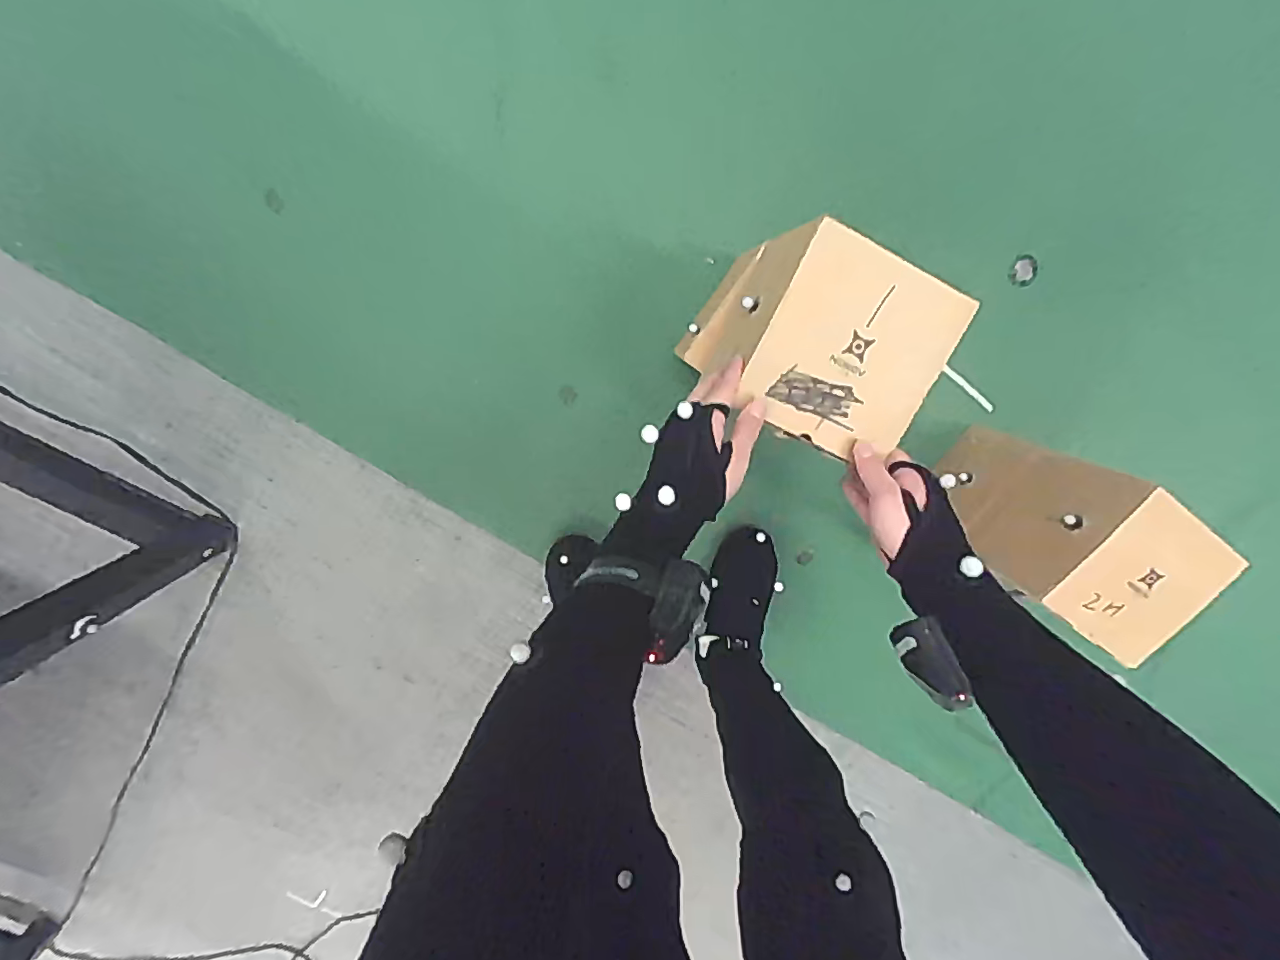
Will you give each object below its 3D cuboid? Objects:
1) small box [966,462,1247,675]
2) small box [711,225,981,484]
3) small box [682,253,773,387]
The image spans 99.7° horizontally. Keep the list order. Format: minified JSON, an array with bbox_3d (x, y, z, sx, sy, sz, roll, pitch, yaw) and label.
[{"bbox_3d":[0.573,0.101,0.693,0.168,0.176,0.179,34,103,-11],"label":"small box"},{"bbox_3d":[0.185,-0.123,0.550,0.168,0.176,0.179,23,102,-10],"label":"small box"},{"bbox_3d":[0.173,-0.192,0.771,0.168,0.176,0.179,33,104,-10],"label":"small box"}]
